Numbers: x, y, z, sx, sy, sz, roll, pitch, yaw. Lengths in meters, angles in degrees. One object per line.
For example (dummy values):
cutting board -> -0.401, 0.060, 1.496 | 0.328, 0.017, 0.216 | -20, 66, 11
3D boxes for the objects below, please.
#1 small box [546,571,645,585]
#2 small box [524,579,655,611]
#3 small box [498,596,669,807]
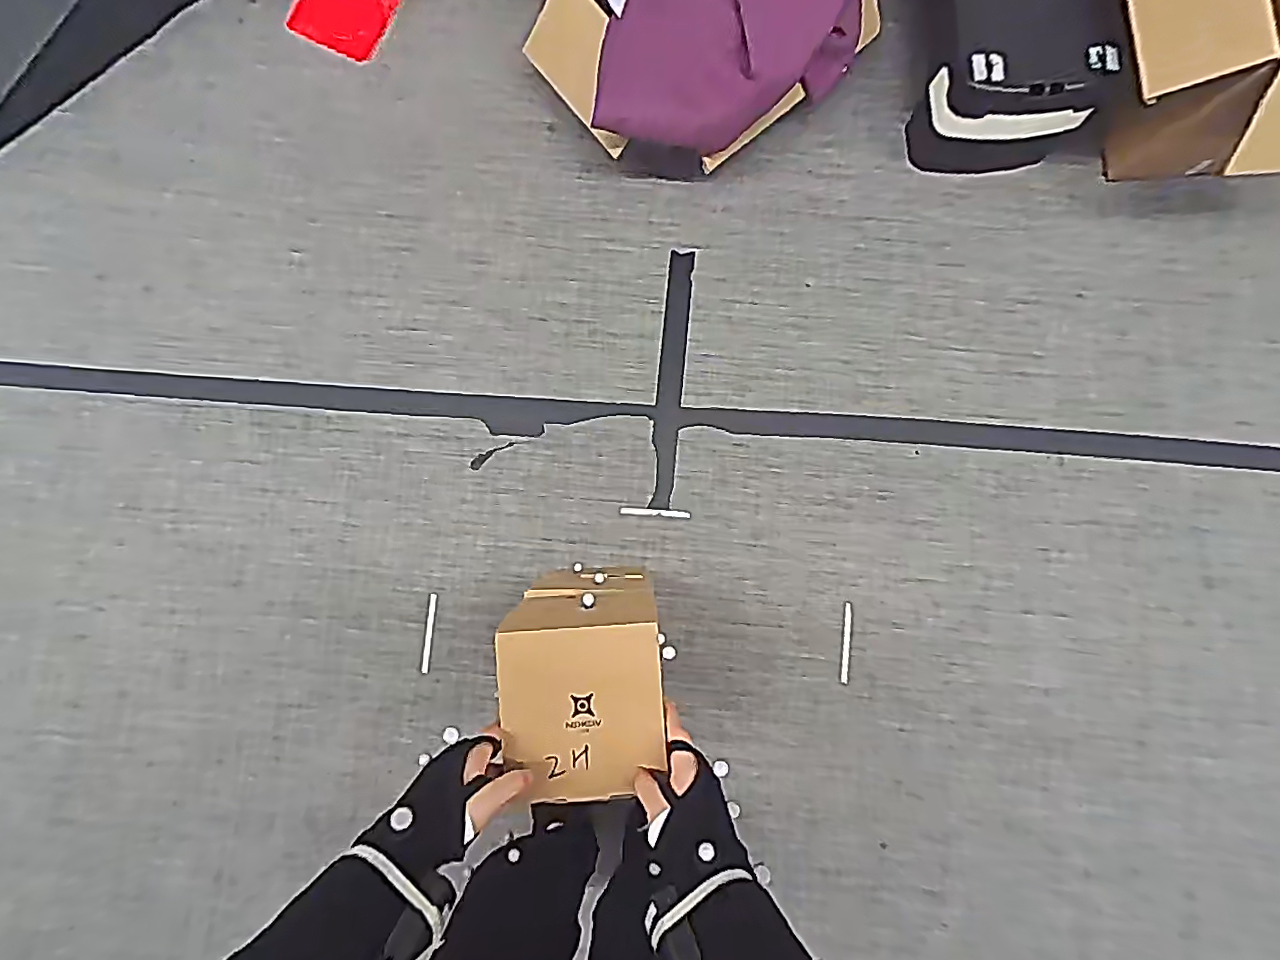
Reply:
small box -> -0.070, 0.254, 0.956 | 0.168, 0.176, 0.179 | -3, 86, 1
small box -> -0.067, 0.238, 0.792 | 0.179, 0.176, 0.168 | 0, 85, 0
small box -> -0.058, 0.234, 0.617 | 0.168, 0.176, 0.179 | -4, 90, 0
